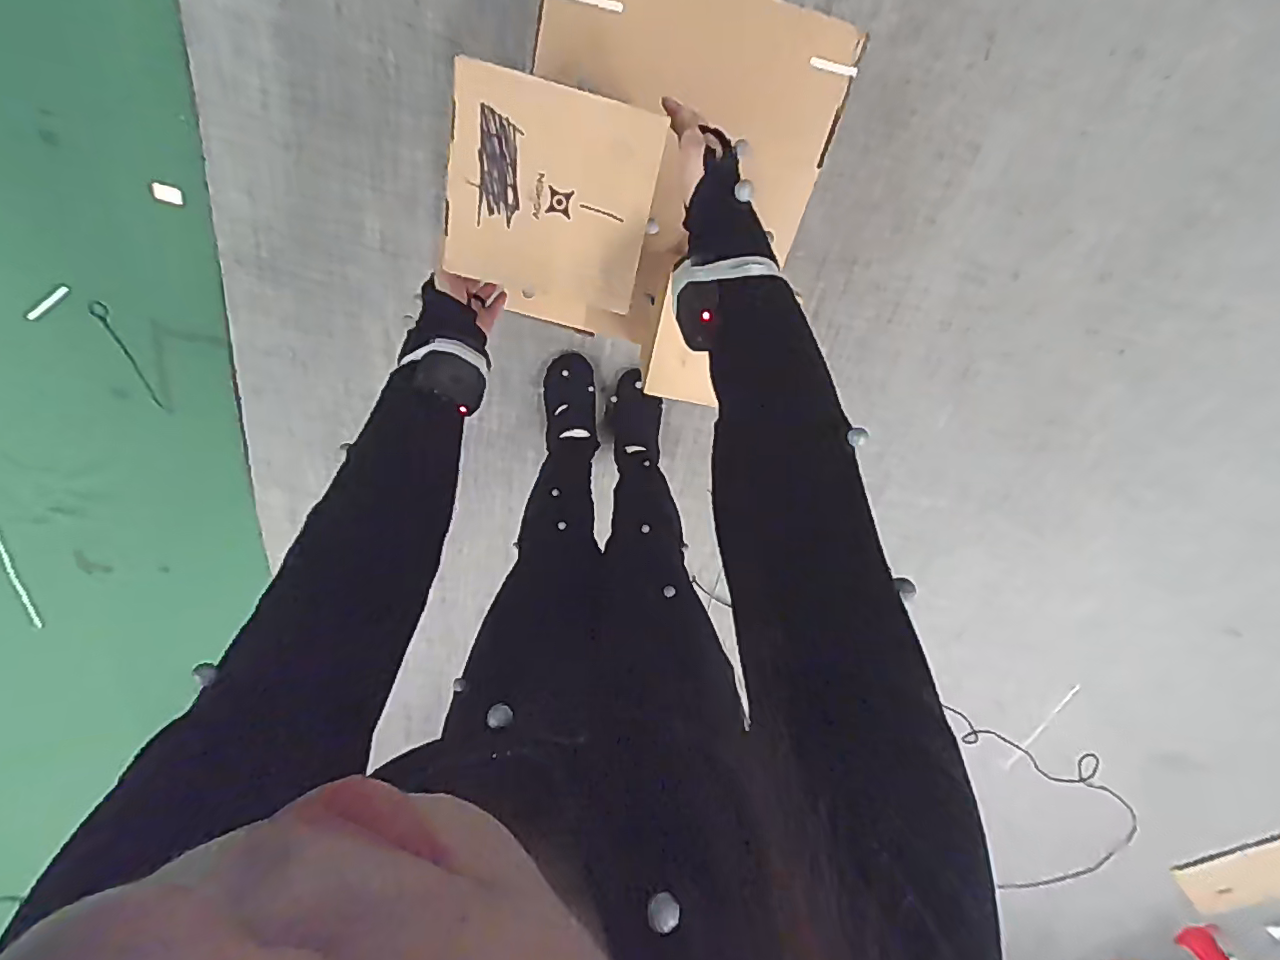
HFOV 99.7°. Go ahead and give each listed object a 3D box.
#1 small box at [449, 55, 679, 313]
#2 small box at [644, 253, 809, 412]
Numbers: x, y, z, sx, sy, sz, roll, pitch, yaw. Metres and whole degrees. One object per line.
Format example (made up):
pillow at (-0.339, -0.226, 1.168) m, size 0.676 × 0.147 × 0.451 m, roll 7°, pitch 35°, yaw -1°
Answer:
small box at (-0.073, -0.282, 0.536) m, size 0.179 × 0.176 × 0.168 m, roll 11°, pitch 118°, yaw -8°
small box at (0.108, -0.216, 0.771) m, size 0.179 × 0.176 × 0.168 m, roll 10°, pitch 118°, yaw -8°
